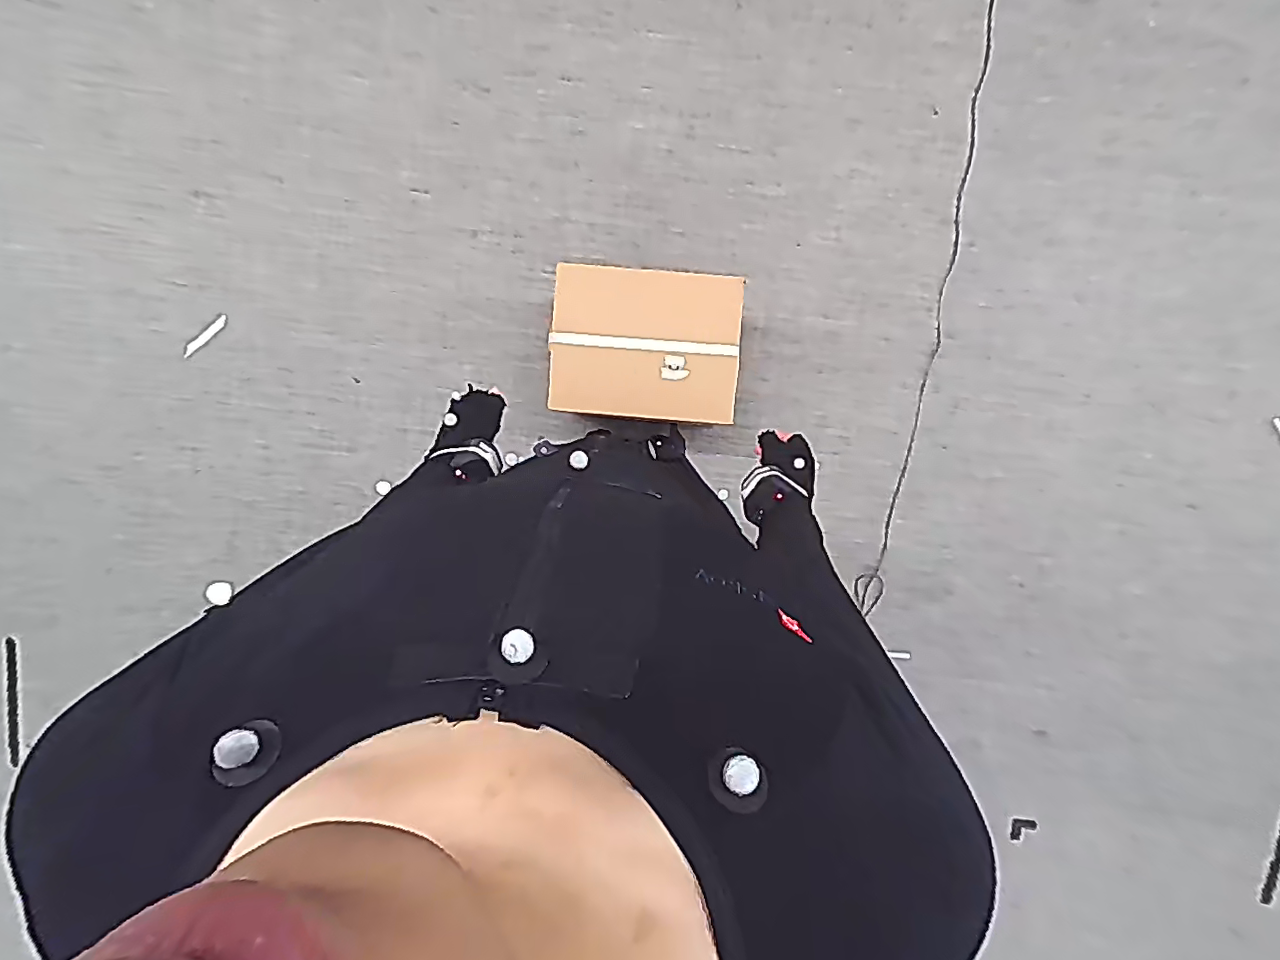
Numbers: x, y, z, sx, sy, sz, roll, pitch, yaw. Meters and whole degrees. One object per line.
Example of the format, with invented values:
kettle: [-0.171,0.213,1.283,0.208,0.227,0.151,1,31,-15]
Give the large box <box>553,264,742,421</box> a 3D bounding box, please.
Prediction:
large box: [0.013,-0.311,1.316,0.408,0.320,0.320,4,96,0]
